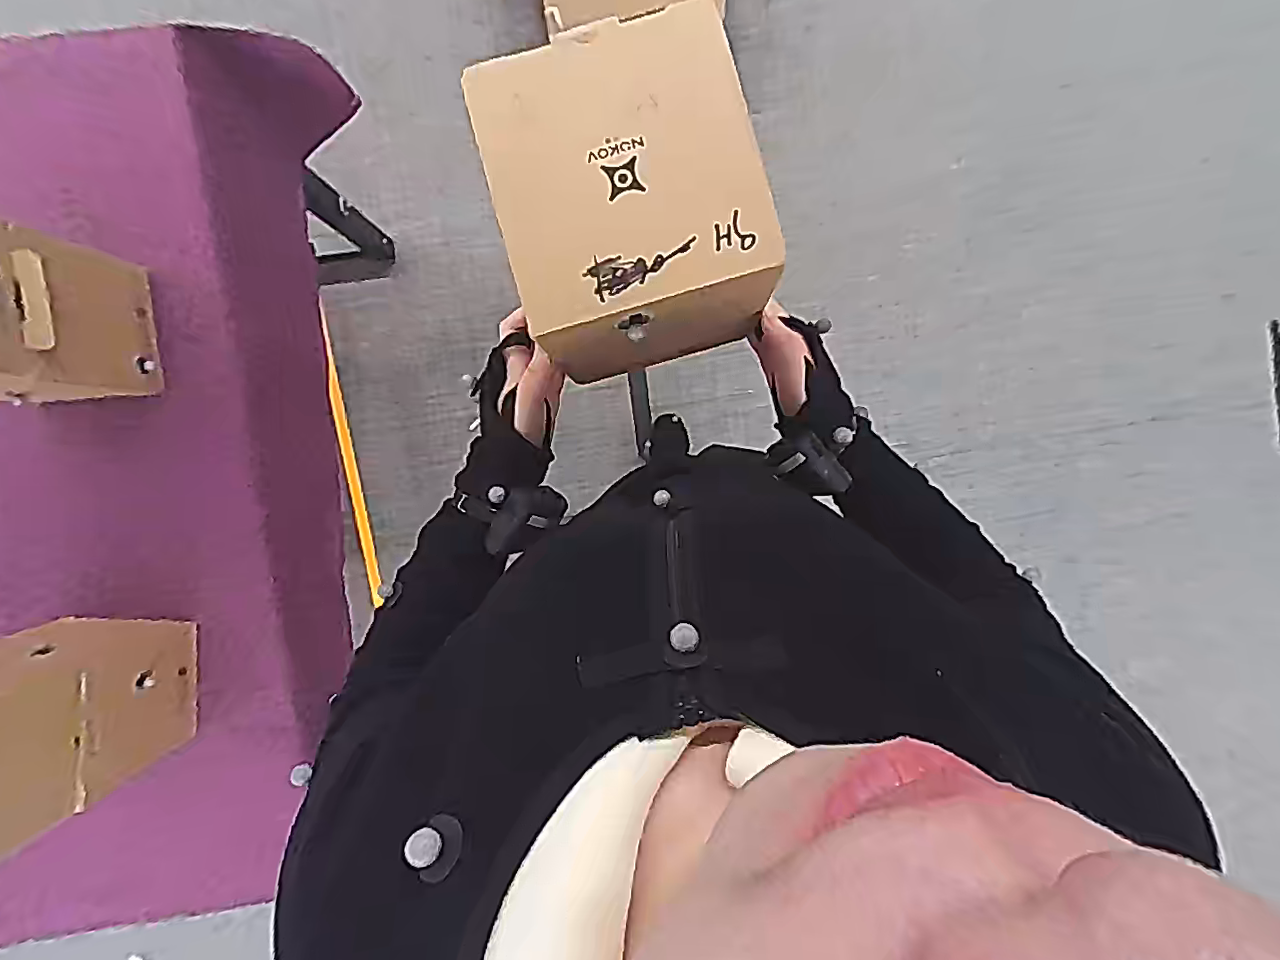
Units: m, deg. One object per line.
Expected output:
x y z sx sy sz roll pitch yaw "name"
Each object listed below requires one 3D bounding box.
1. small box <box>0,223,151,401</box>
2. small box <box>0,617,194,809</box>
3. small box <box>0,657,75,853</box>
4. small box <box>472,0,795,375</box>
-0.730 -0.185 0.637 0.179 0.176 0.168 -5 94 -1 "small box"
-0.704 0.277 0.675 0.179 0.176 0.168 3 93 -2 "small box"
-0.699 0.283 0.511 0.168 0.176 0.179 4 93 -4 "small box"
-0.002 -0.197 0.409 0.168 0.176 0.179 -15 88 3 "small box"
